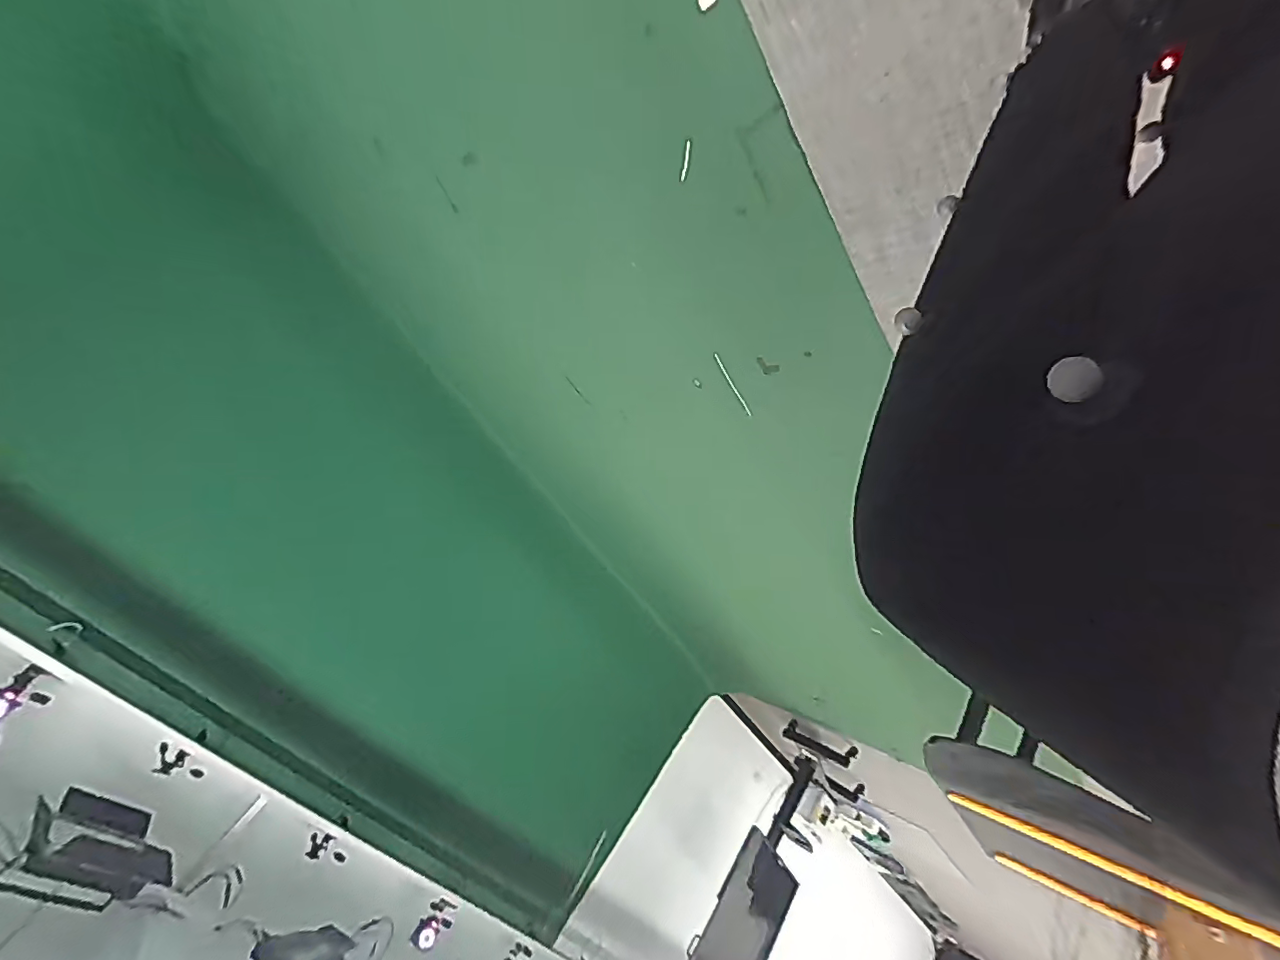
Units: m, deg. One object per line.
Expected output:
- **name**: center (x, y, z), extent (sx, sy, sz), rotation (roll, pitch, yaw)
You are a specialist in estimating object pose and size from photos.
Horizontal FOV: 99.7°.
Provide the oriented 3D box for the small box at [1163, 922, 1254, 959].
- **small box**: center (1.424, 1.257, 1.335), extent (0.168, 0.176, 0.179), rotation (-3, 129, 54)
